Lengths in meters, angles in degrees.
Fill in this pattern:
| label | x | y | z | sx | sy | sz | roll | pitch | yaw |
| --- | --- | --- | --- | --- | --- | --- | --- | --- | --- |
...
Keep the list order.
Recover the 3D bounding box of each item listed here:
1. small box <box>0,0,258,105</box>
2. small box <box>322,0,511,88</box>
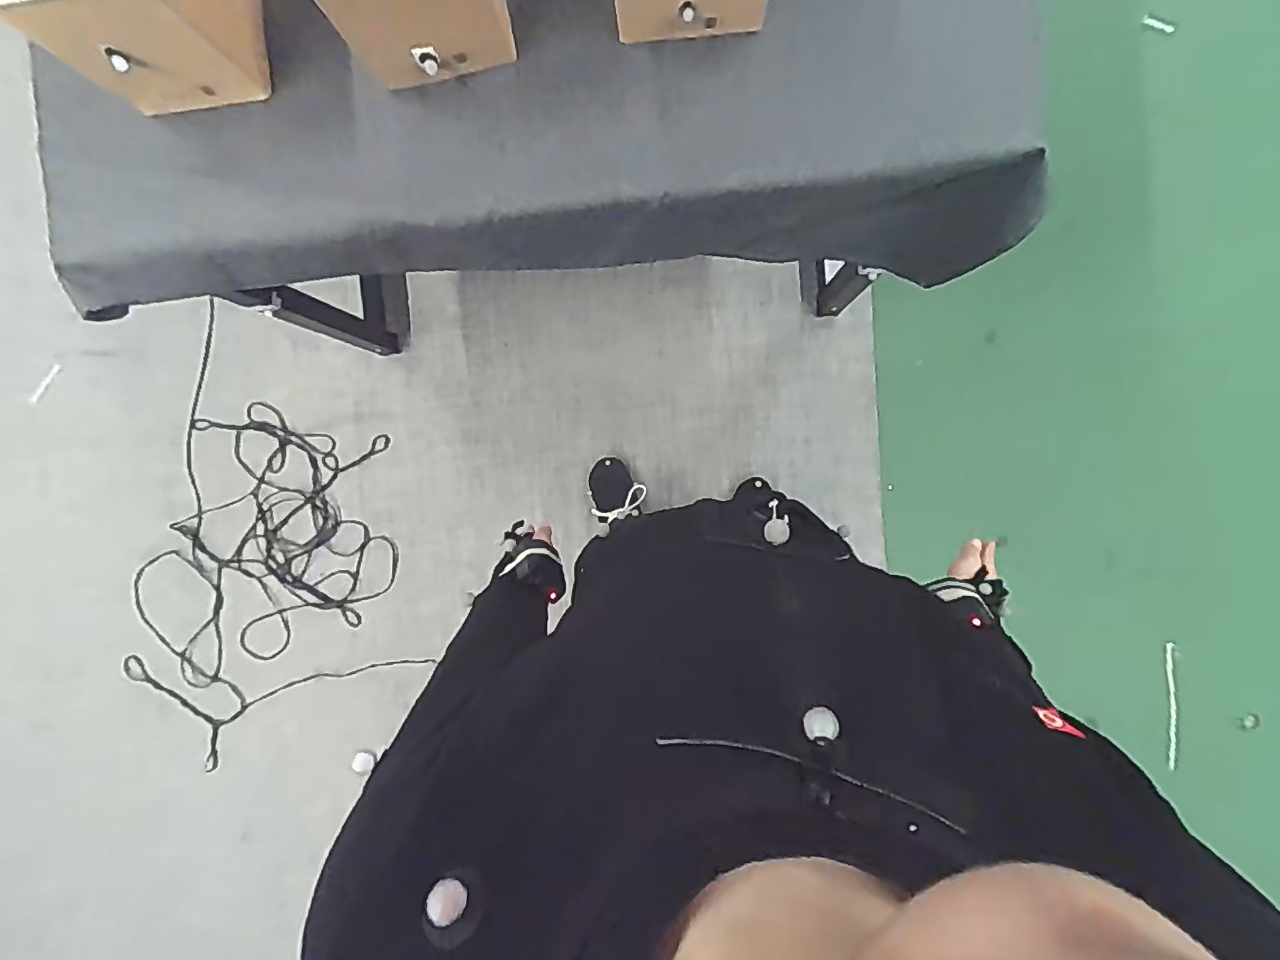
| label | x | y | z | sx | sy | sz | roll | pitch | yaw |
| --- | --- | --- | --- | --- | --- | --- | --- | --- | --- |
| small box | -0.547 | -0.537 | 0.576 | 0.168 | 0.176 | 0.179 | -6 | 90 | 4 |
| small box | -0.249 | -0.561 | 0.557 | 0.168 | 0.176 | 0.179 | -12 | 91 | 5 |
